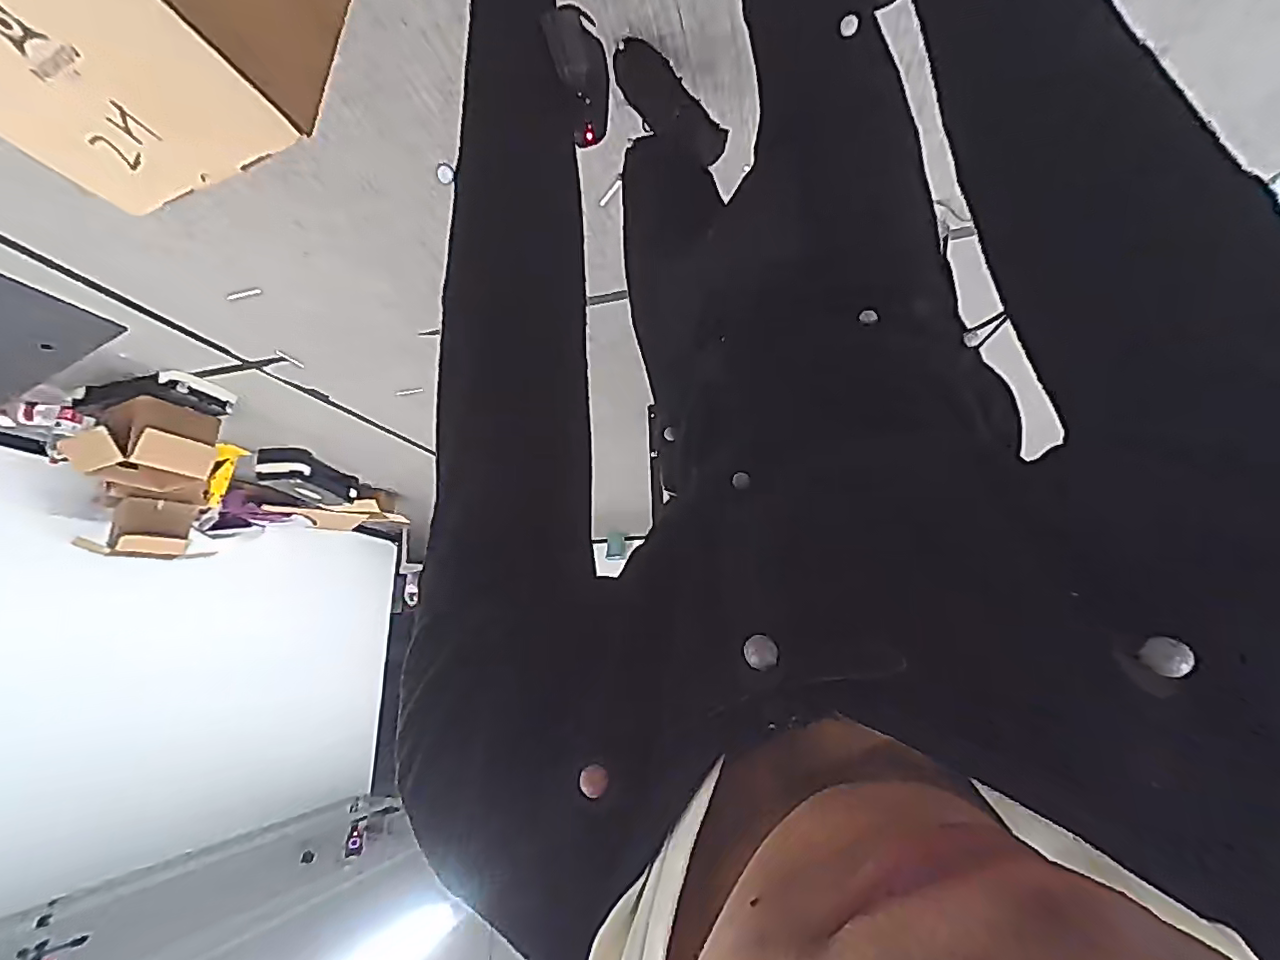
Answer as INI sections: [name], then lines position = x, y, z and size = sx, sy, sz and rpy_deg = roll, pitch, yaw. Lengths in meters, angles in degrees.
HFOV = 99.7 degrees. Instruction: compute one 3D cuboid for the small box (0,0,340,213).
[small box]
position = -0.293, -0.289, 0.283
size = 0.168, 0.176, 0.179
rpy_deg = -7, 160, 20
